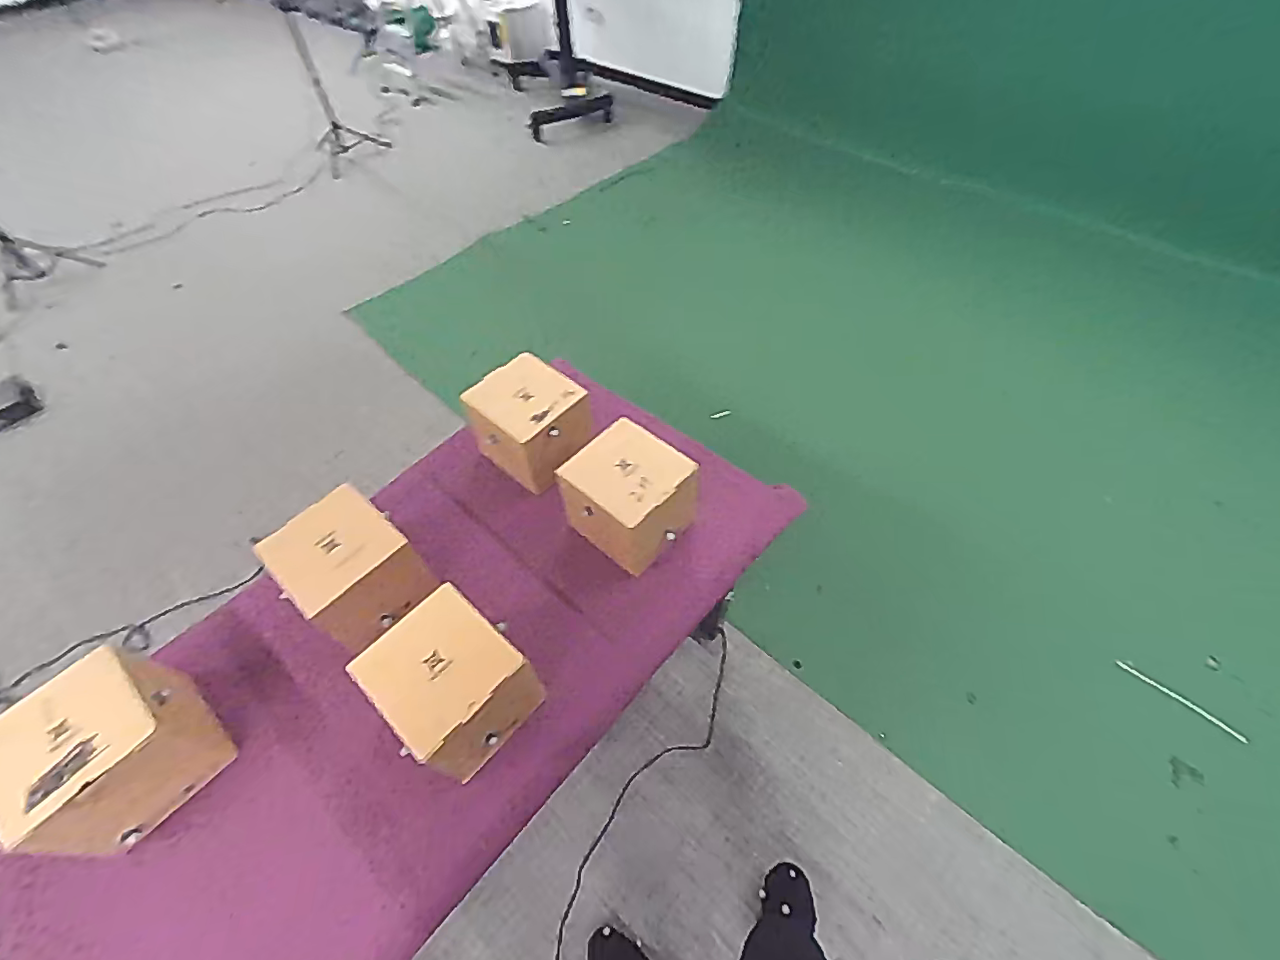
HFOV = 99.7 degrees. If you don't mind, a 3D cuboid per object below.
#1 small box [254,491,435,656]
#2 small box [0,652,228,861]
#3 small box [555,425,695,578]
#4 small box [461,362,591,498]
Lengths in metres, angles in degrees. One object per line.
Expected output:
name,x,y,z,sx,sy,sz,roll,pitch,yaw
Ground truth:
small box,-0.472,0.157,0.887,0.179,0.176,0.168,36,62,24
small box,-0.711,0.371,0.726,0.179,0.176,0.168,34,60,24
small box,-0.023,0.042,0.958,0.179,0.176,0.168,35,62,26
small box,-0.217,-0.095,1.069,0.179,0.176,0.168,34,61,23
